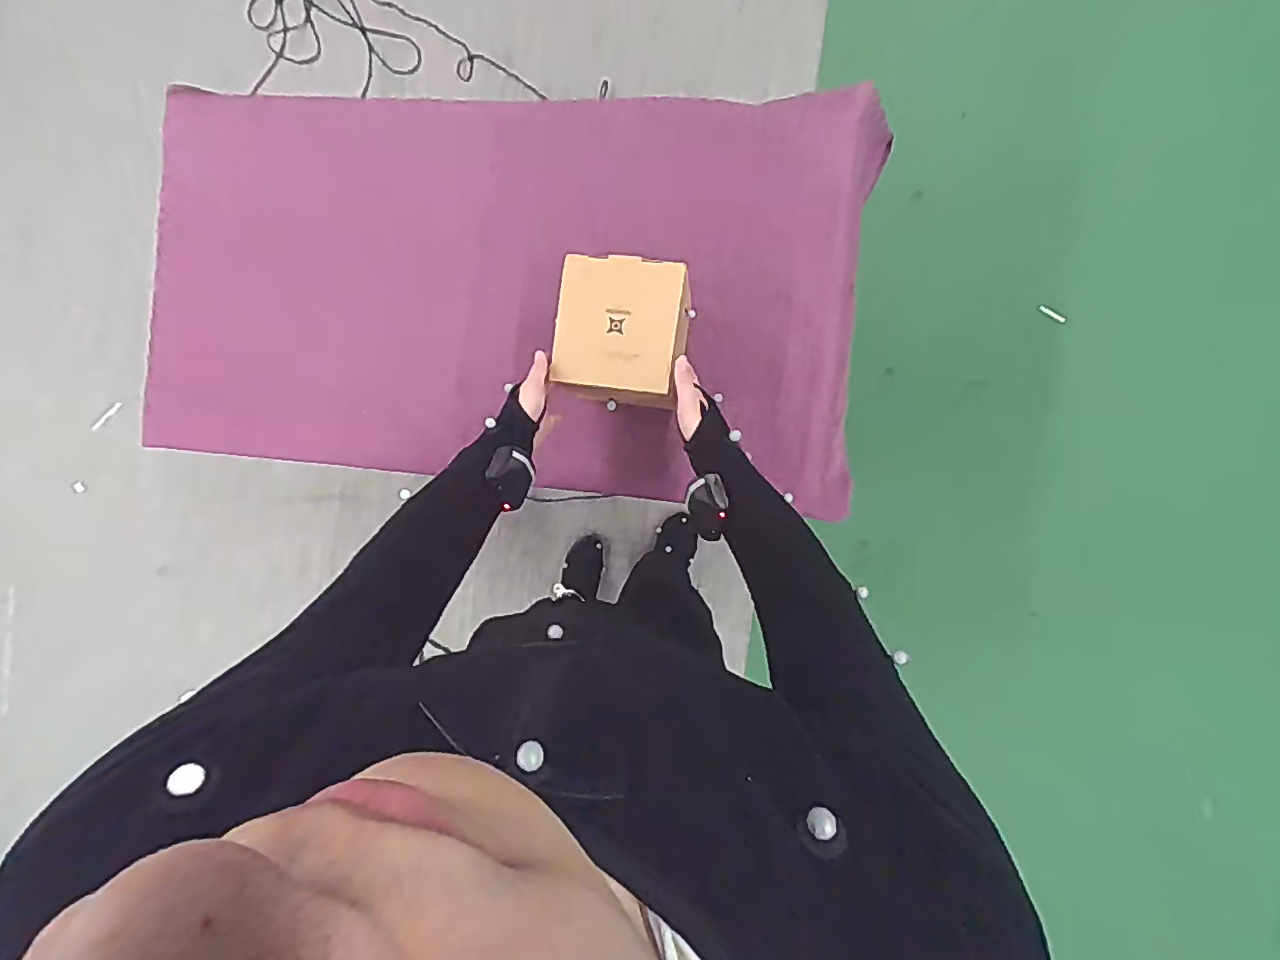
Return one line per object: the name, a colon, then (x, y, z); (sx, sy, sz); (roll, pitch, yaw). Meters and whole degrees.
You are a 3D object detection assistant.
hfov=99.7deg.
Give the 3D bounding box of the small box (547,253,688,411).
small box: (-0.023, -0.206, 0.792); (0.168, 0.176, 0.179); (8, 91, 8)
